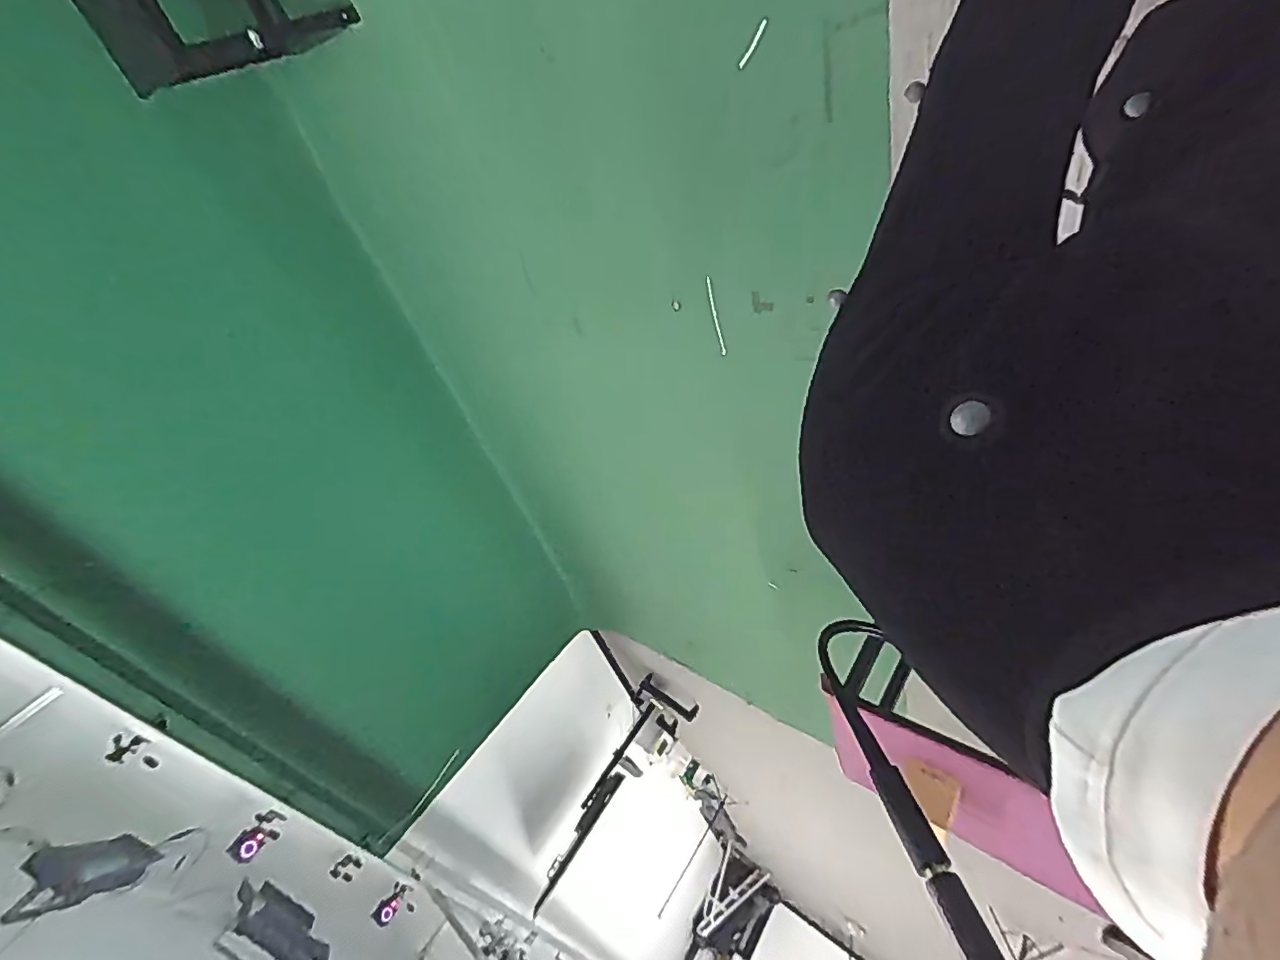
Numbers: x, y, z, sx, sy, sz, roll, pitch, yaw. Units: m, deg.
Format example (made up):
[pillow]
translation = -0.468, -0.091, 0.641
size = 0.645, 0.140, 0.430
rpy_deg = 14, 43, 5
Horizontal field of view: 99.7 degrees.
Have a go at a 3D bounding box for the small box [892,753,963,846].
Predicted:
[small box]
translation = 0.930, 1.029, 1.750
size = 0.168, 0.176, 0.179
rpy_deg = 15, 140, 38
